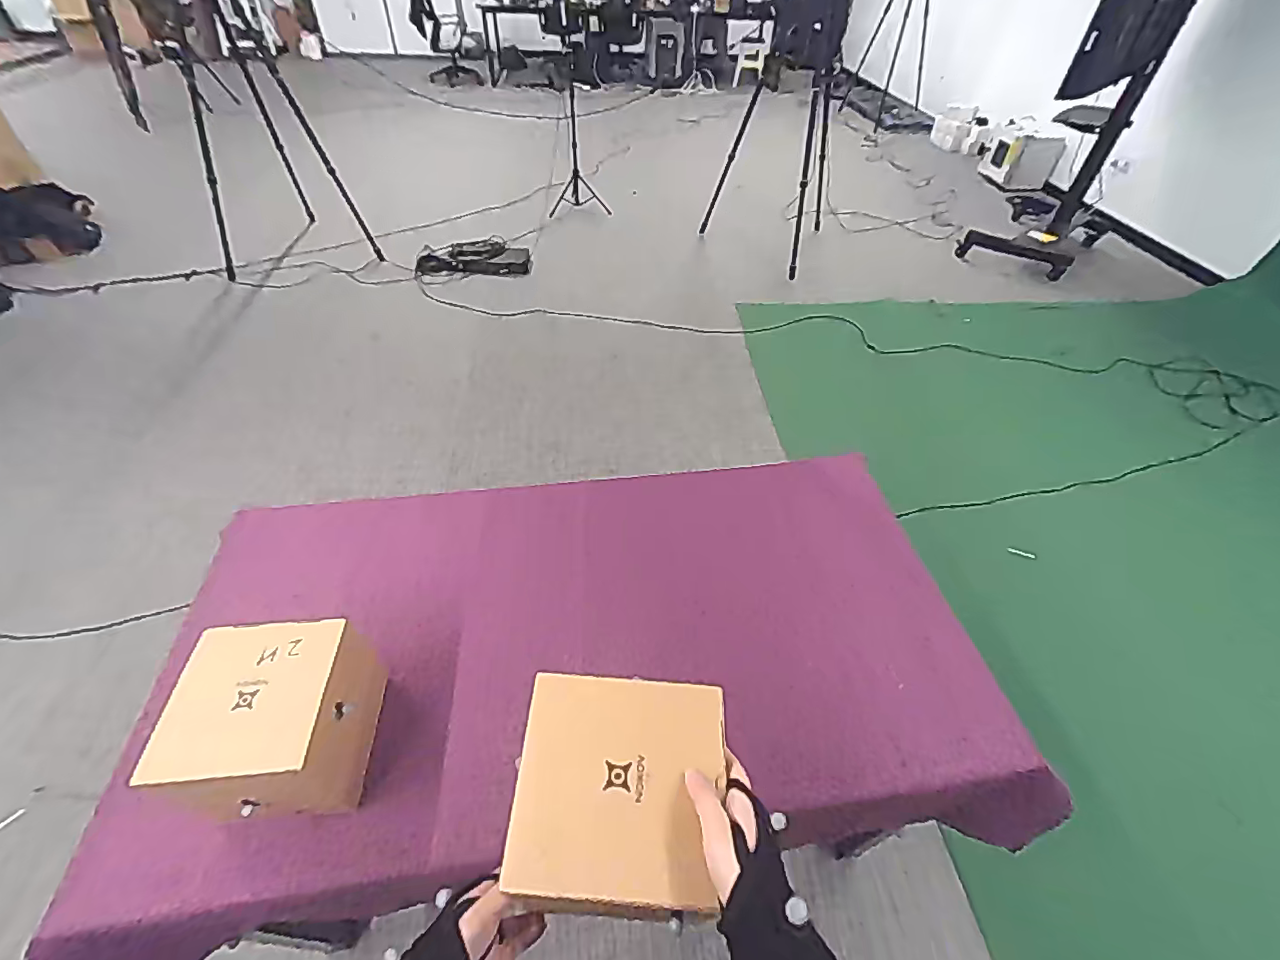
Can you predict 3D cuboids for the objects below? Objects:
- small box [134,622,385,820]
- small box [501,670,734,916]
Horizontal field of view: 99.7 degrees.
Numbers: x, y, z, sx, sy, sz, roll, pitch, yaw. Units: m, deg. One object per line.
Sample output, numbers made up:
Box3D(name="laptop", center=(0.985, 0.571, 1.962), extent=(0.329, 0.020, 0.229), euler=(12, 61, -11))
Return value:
Box3D(name="small box", center=(-0.431, 0.295, 0.656), extent=(0.168, 0.176, 0.179), euler=(-3, 46, -5))
Box3D(name="small box", center=(-0.017, 0.297, 0.509), extent=(0.179, 0.176, 0.168), euler=(5, 48, -1))
